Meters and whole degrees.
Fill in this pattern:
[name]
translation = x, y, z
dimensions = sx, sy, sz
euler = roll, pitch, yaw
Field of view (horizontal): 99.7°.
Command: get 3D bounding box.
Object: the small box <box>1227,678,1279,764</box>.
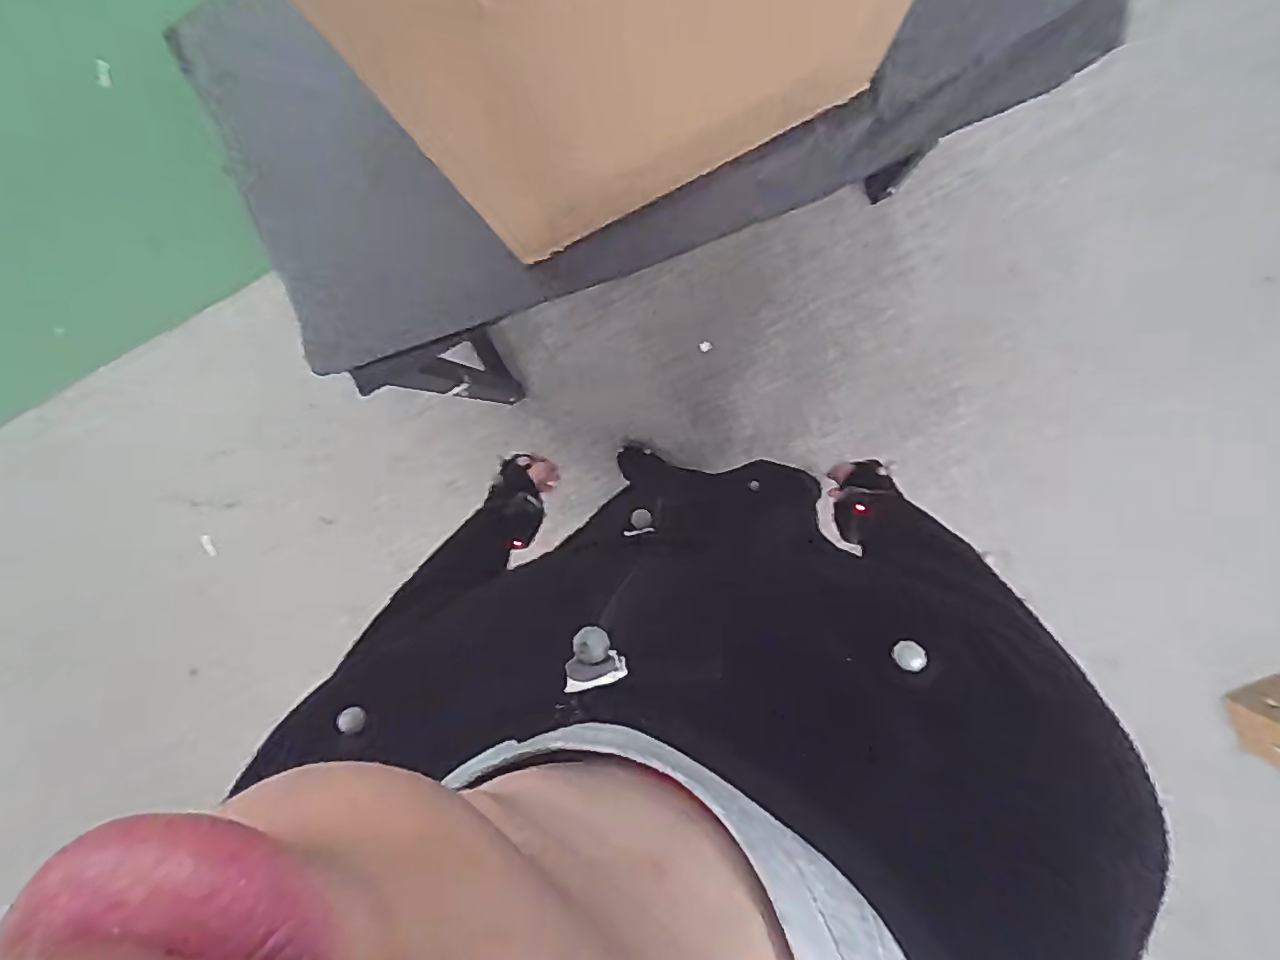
[small box]
translation = 1.712, 0.642, 1.409
dimensions = 0.168, 0.176, 0.179
euler = -27, 93, 6
